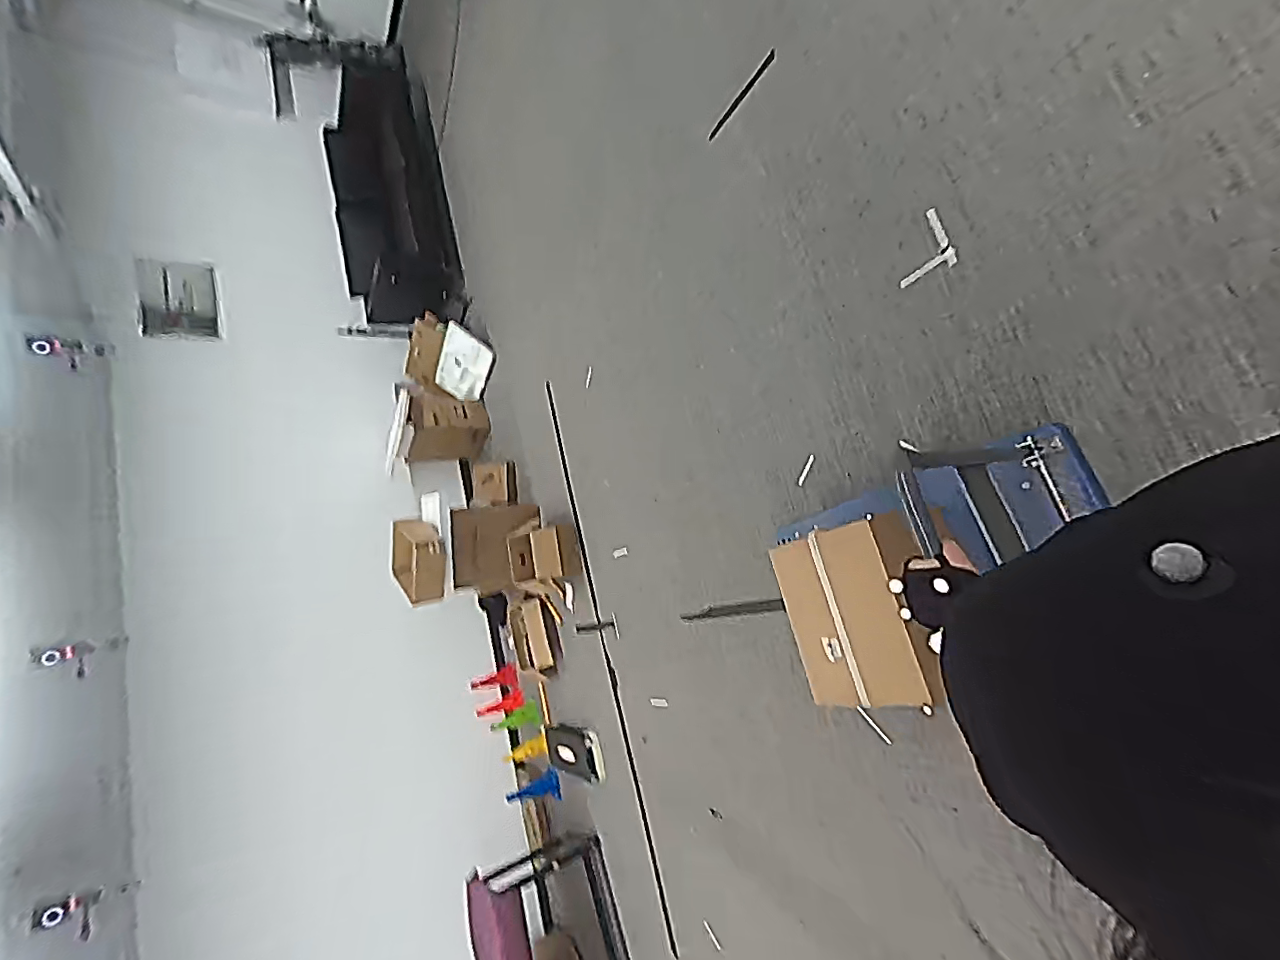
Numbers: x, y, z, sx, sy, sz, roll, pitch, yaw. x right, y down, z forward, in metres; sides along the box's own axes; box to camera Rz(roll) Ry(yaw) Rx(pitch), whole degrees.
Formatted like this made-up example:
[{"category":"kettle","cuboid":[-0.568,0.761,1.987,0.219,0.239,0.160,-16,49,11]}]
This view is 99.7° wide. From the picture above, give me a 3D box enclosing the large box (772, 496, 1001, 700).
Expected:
[{"category":"large box","cuboid":[0.595,0.288,1.332,0.320,0.320,0.408,-33,69,54]}]
